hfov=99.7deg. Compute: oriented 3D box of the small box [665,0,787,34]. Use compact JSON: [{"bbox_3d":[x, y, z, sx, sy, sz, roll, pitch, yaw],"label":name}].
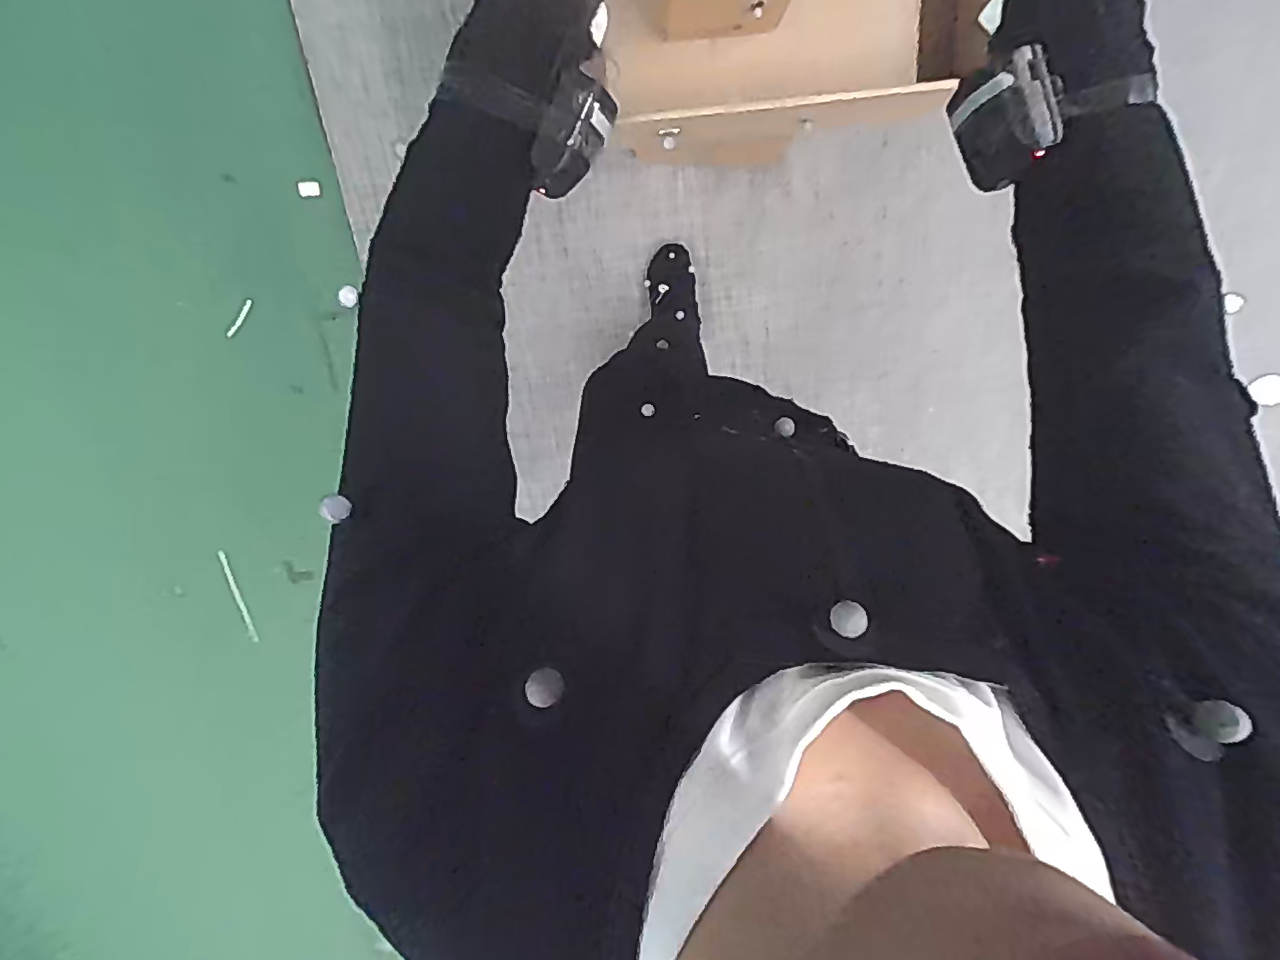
[{"bbox_3d":[0.116,-0.713,0.697,0.168,0.176,0.179,-5,108,1],"label":"small box"}]
